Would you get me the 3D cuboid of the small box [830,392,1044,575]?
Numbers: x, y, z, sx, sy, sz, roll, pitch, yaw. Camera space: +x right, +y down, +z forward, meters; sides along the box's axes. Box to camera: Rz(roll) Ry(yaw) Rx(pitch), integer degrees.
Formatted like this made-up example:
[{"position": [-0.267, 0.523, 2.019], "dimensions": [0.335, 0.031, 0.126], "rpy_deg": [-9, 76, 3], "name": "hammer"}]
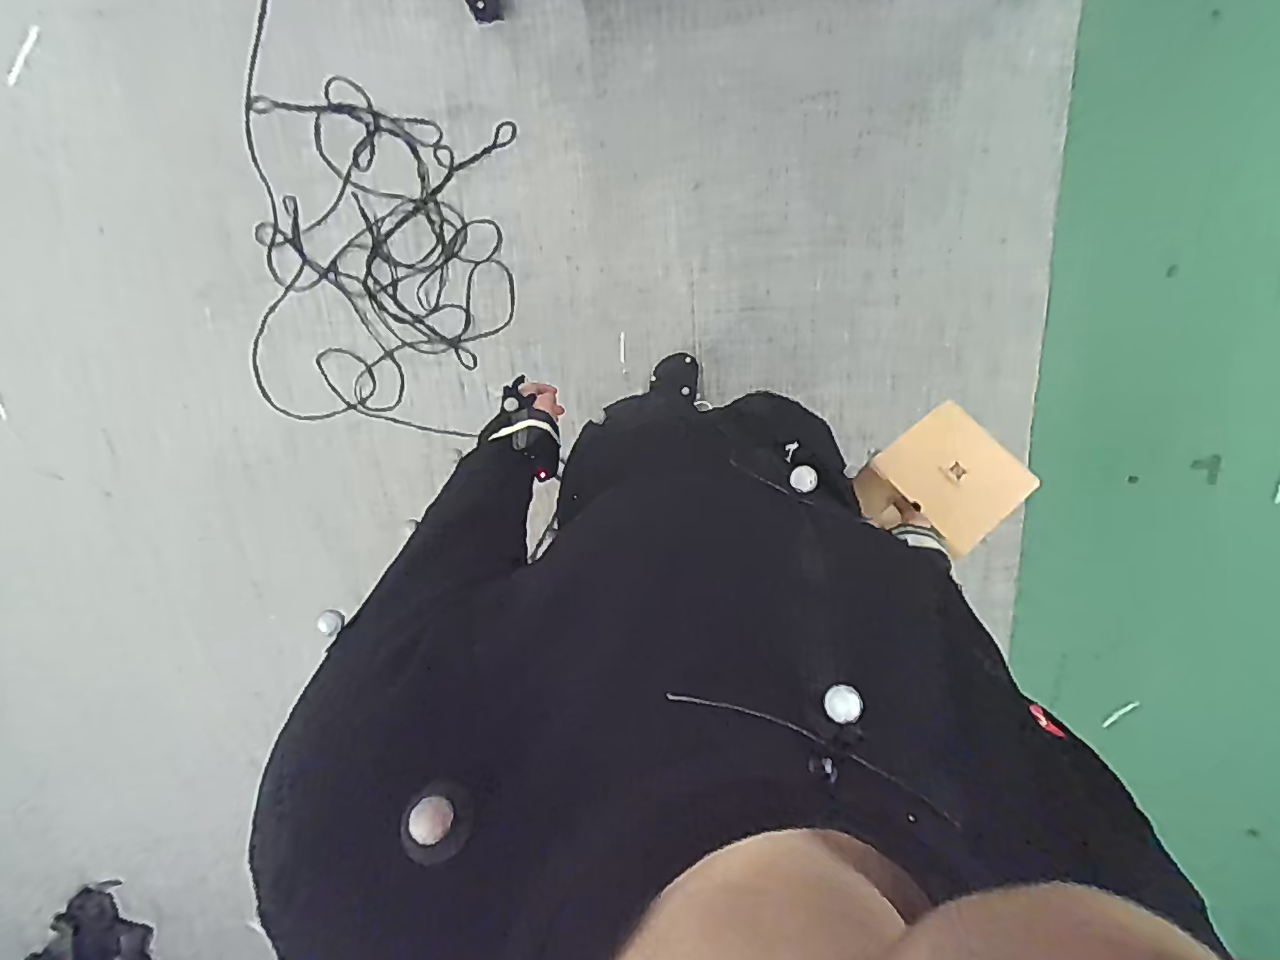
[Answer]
[{"position": [0.412, 0.012, 0.782], "dimensions": [0.179, 0.176, 0.168], "rpy_deg": [-36, 75, -16], "name": "small box"}]
